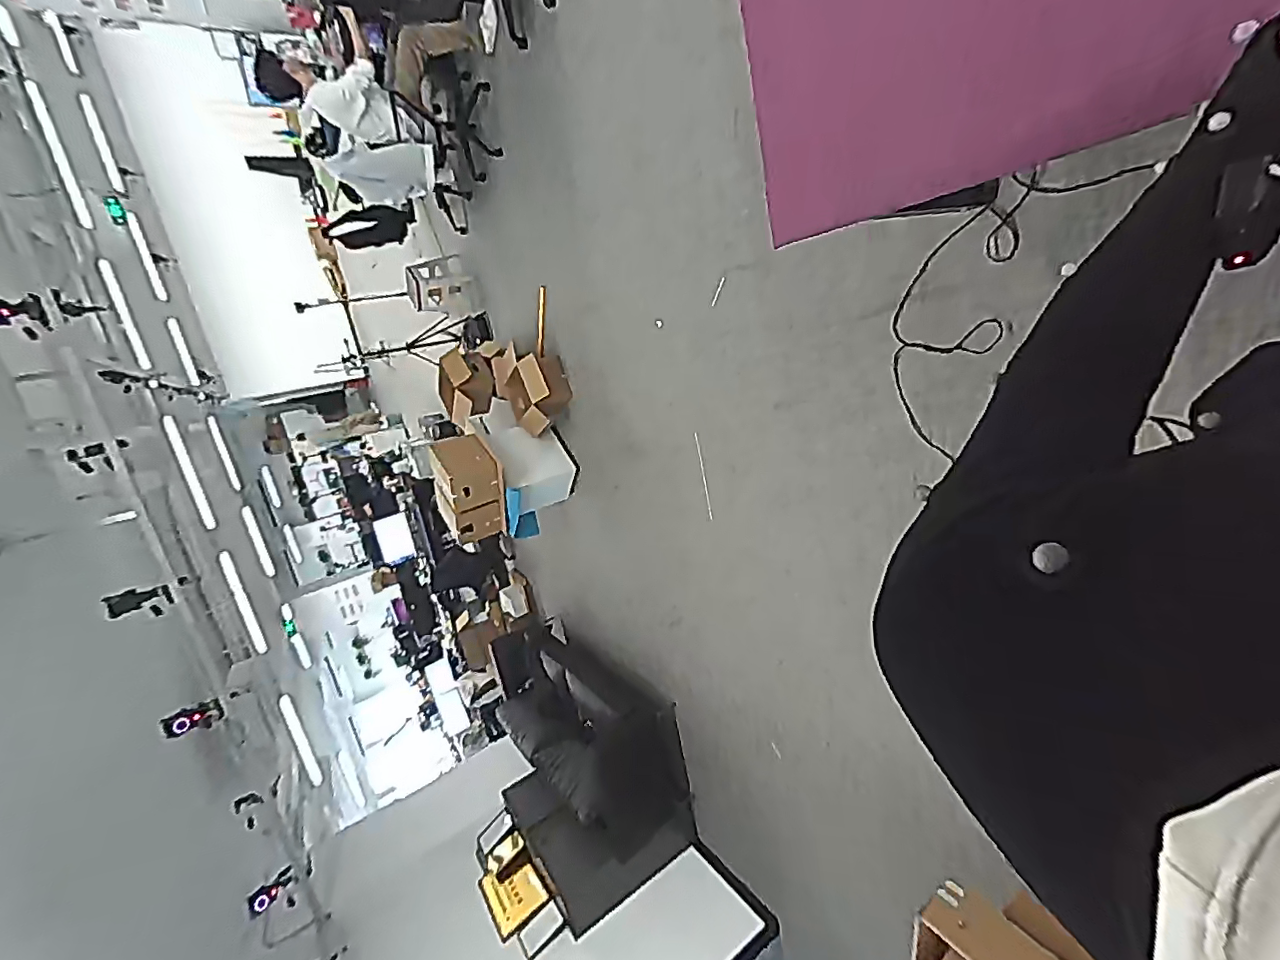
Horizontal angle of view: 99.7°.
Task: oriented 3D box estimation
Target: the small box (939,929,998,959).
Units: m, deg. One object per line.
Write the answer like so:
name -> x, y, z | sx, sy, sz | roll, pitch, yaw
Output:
small box -> 0.968, 1.478, 1.574 | 0.168, 0.176, 0.179 | 24, 127, 52
